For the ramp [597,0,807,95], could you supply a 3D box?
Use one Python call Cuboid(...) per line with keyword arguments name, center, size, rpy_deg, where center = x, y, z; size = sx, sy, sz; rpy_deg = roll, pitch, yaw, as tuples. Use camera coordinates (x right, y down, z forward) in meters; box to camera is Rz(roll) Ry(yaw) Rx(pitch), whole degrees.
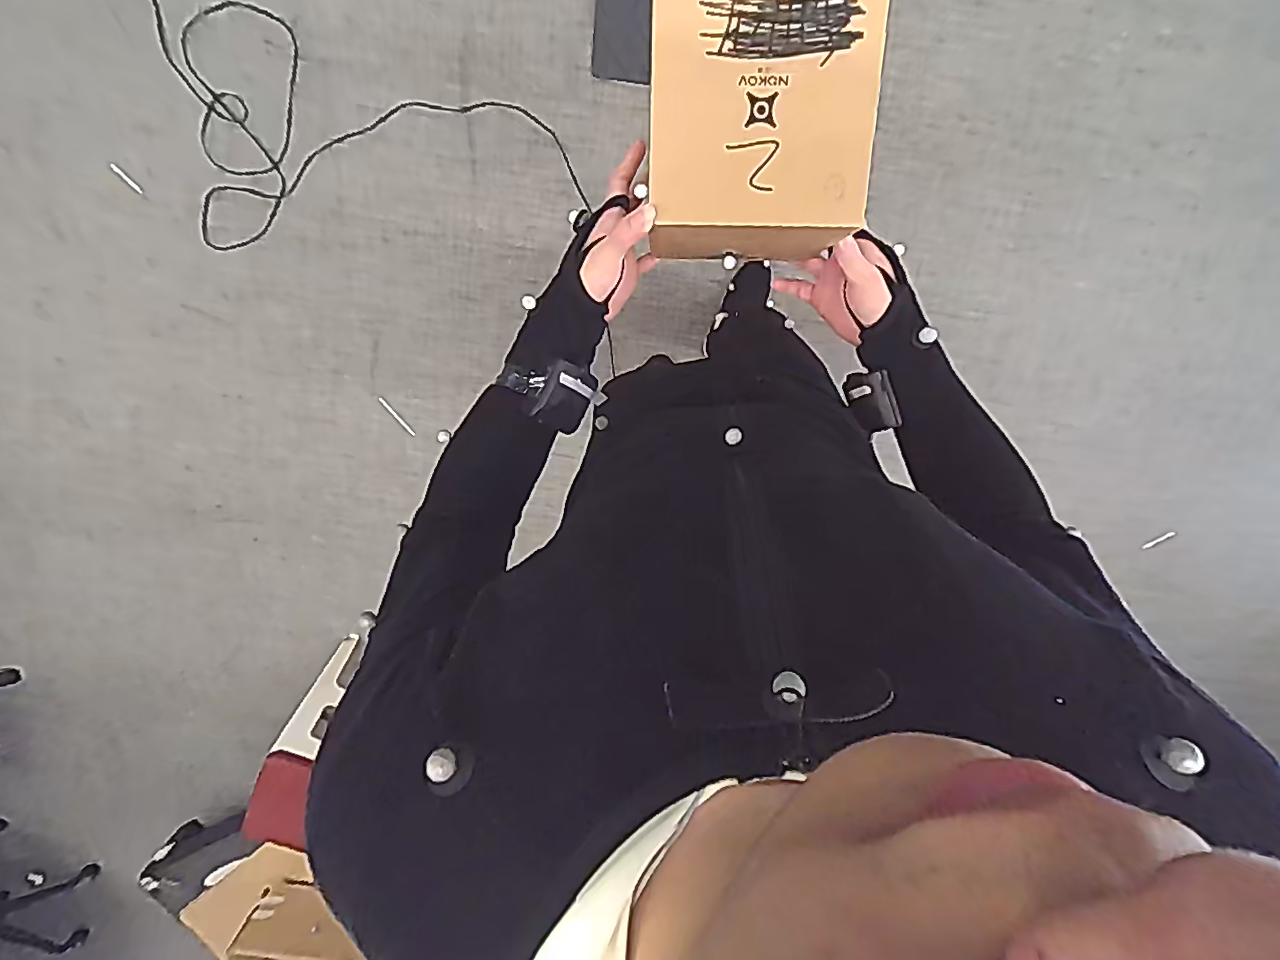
Cuboid(name="ramp", center=(0.187, -1.430, 1.126), size=(0.509, 0.206, 0.991), rpy_deg=(4, 107, -2))
